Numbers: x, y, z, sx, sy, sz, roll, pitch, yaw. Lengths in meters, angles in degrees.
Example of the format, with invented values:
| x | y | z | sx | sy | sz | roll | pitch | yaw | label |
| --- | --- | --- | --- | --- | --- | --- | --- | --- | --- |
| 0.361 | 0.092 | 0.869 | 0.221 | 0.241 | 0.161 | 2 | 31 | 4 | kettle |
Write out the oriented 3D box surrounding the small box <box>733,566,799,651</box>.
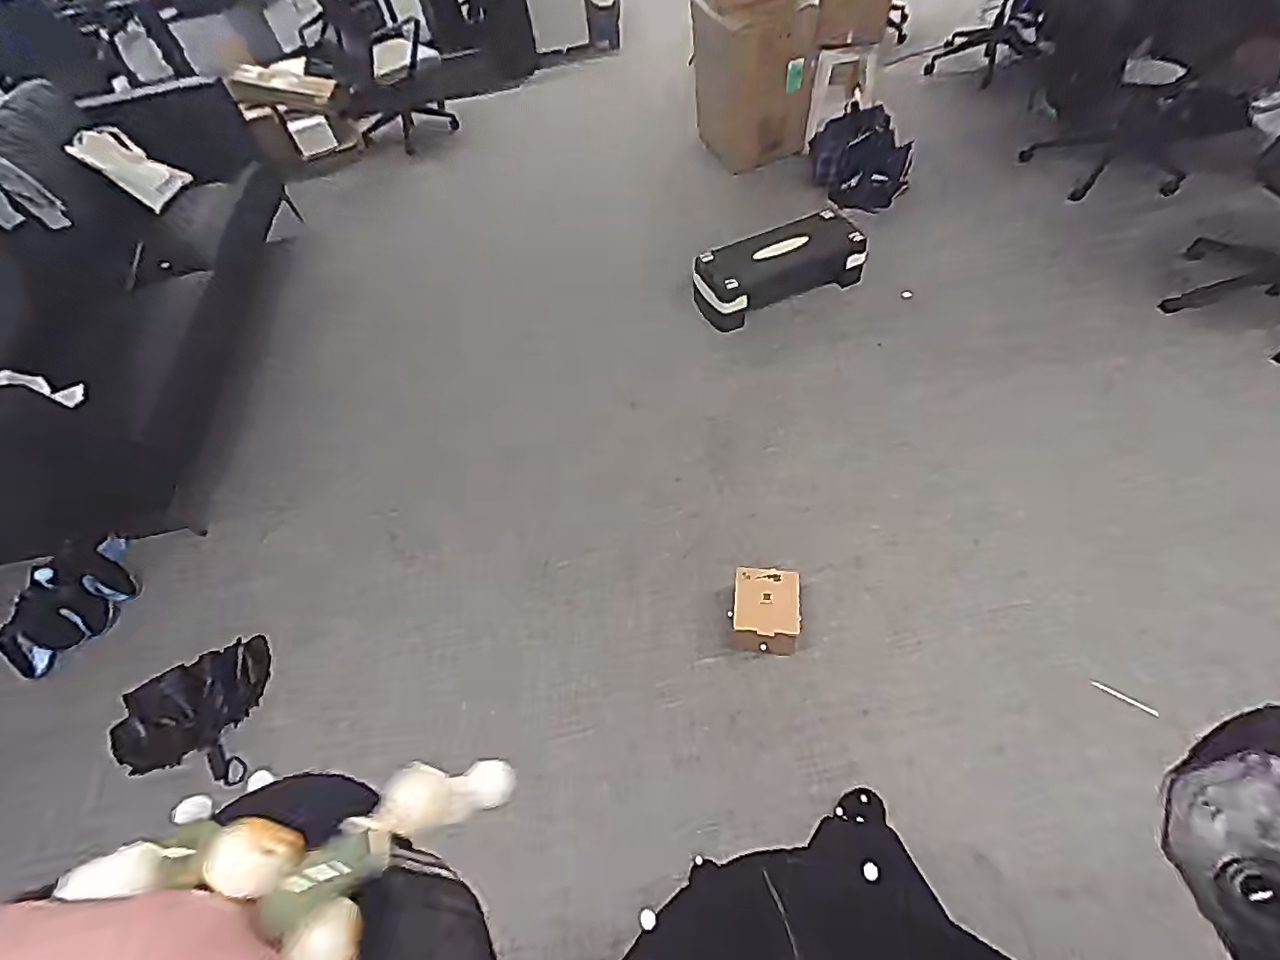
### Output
| x | y | z | sx | sy | sz | roll | pitch | yaw | label |
| --- | --- | --- | --- | --- | --- | --- | --- | --- | --- |
| 0.339 | 0.350 | 1.458 | 0.168 | 0.176 | 0.179 | 3 | 57 | 11 | small box |
